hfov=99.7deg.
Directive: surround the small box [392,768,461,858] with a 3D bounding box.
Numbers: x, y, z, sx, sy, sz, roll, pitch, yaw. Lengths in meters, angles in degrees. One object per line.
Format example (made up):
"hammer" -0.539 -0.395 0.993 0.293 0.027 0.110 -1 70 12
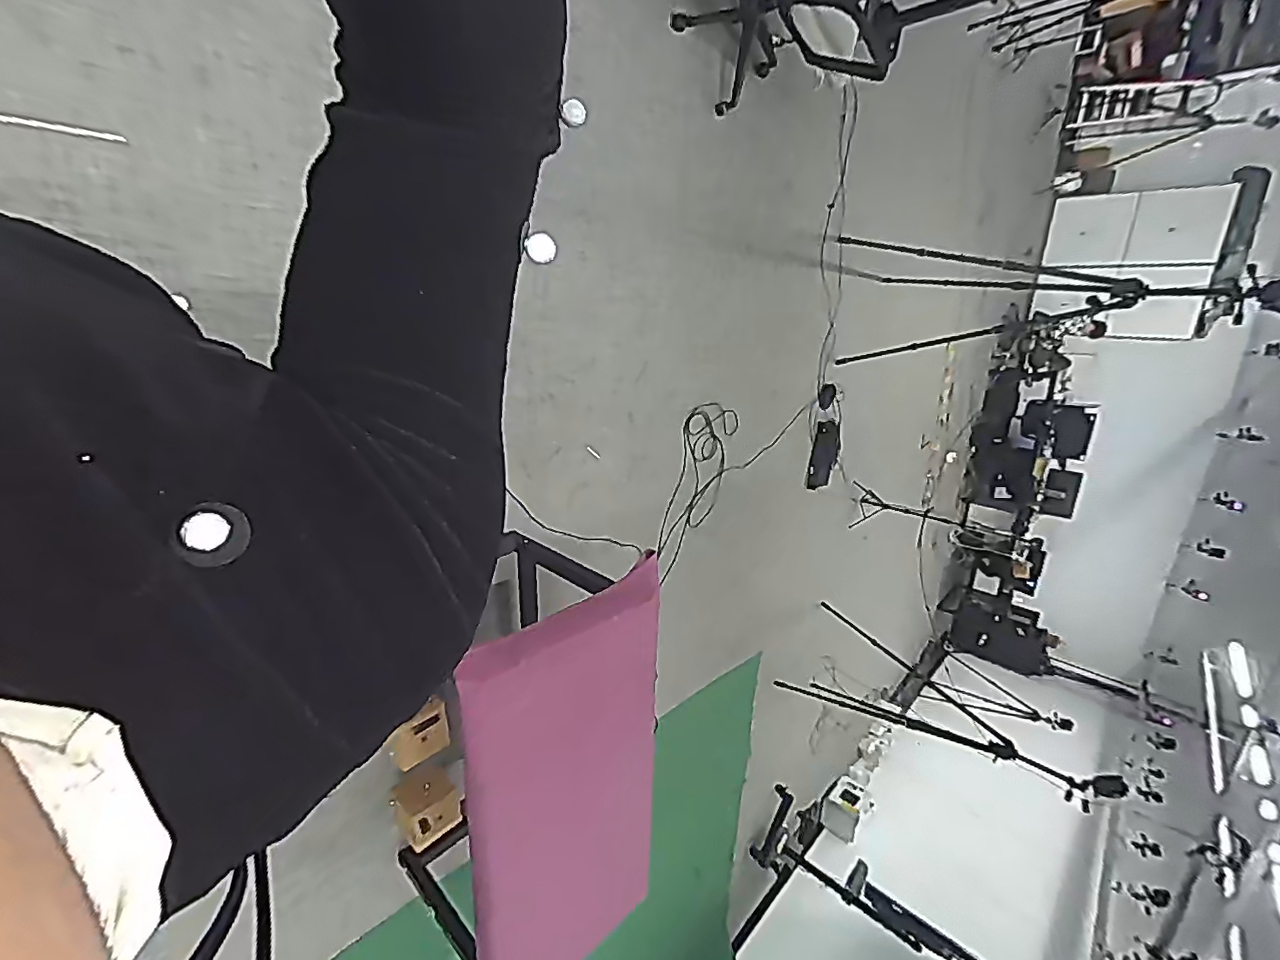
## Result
"small box" -0.770 1.187 1.938 0.179 0.176 0.168 -20 117 -45
